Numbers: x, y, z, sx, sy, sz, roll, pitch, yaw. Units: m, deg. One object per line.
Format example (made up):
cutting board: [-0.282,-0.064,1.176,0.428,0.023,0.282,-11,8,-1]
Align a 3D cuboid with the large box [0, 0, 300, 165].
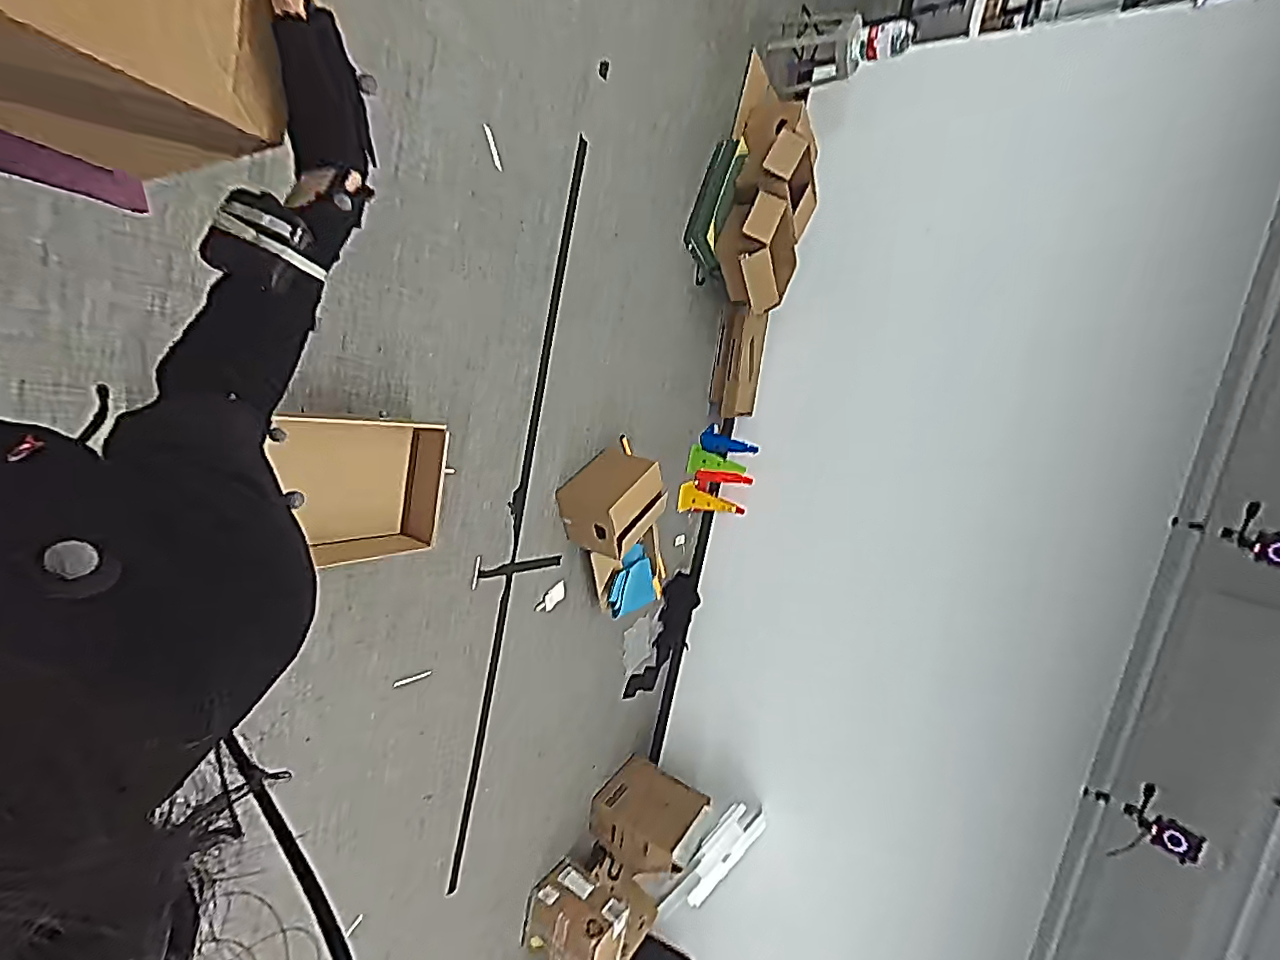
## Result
large box: [-0.481,-0.446,0.316,0.408,0.320,0.320,1,103,-59]
